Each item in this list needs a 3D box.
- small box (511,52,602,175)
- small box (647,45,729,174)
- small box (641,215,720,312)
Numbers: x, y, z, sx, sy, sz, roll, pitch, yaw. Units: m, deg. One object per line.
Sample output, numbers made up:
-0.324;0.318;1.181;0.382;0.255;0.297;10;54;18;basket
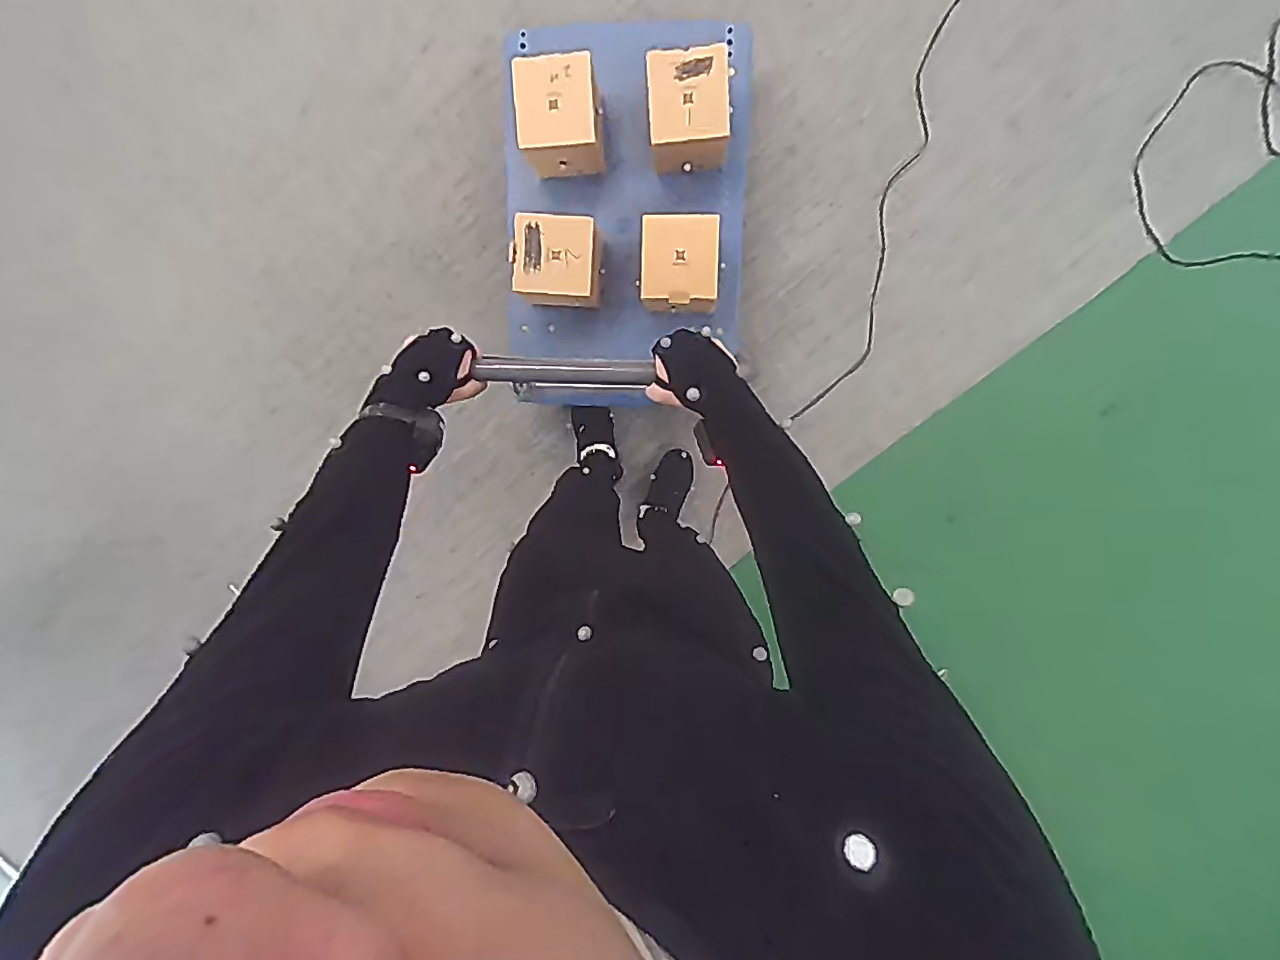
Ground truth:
-0.177;-0.795;1.194;0.168;0.176;0.179;-2;100;3;small box
0.102;-0.797;1.178;0.168;0.176;0.179;-3;100;4;small box
0.088;-0.486;1.233;0.168;0.176;0.179;1;100;3;small box
